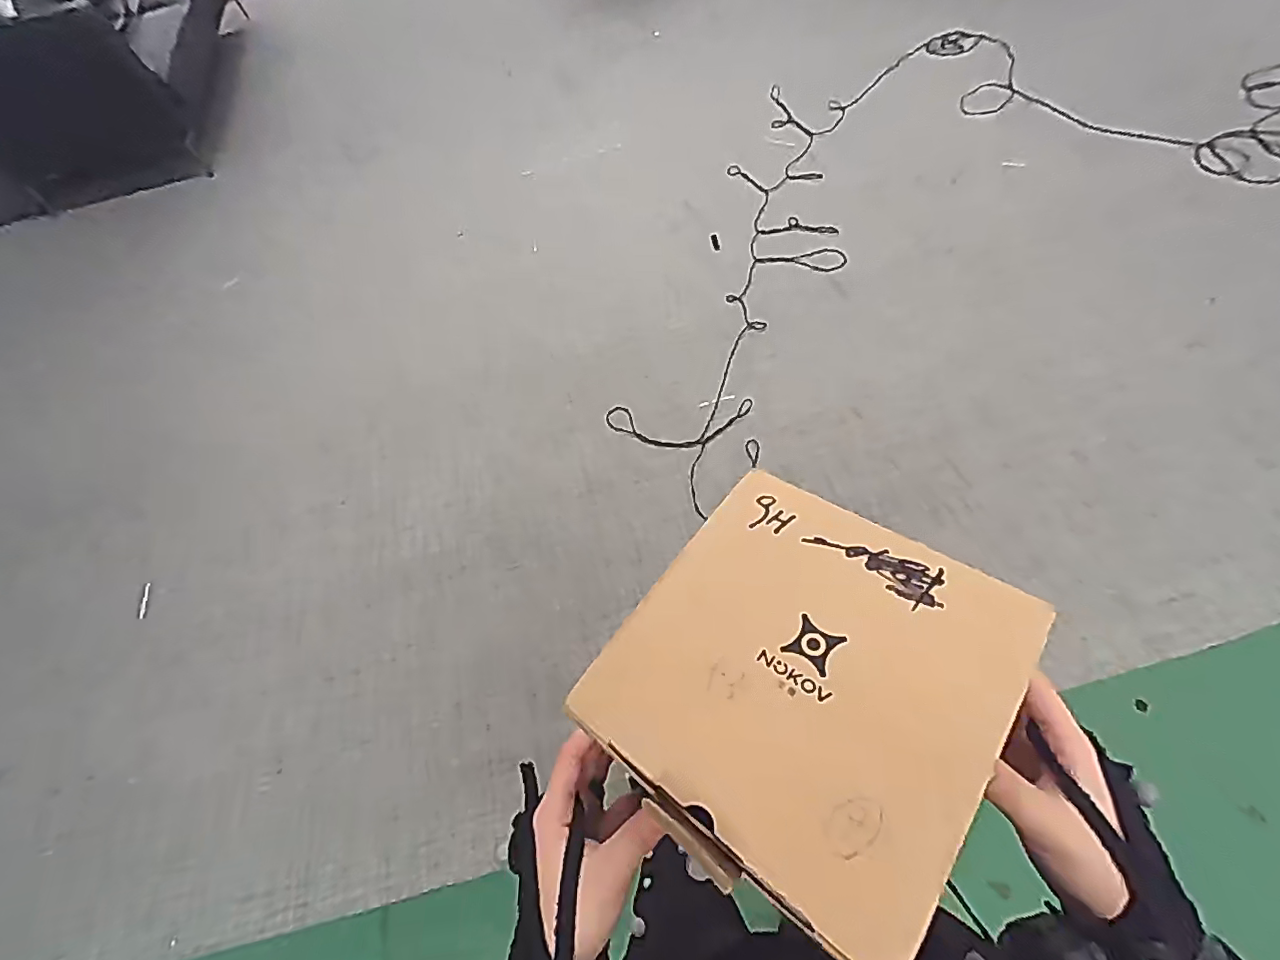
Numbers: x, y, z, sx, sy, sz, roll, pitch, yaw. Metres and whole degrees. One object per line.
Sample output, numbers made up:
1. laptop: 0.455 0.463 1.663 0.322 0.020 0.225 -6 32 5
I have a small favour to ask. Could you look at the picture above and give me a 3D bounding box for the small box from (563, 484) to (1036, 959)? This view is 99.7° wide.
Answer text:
1. small box: 0.090 0.141 0.325 0.168 0.176 0.179 28 65 30
